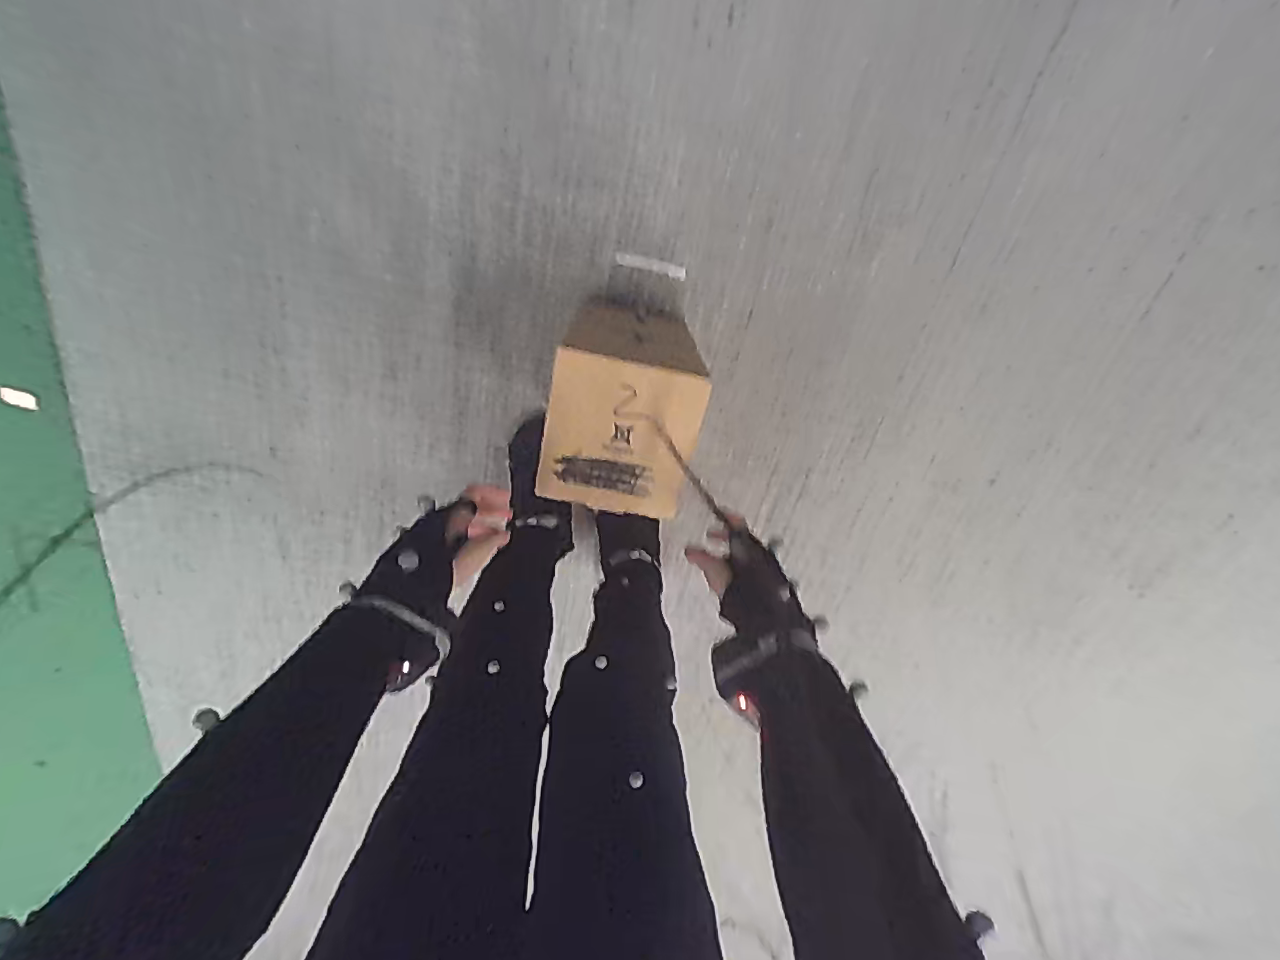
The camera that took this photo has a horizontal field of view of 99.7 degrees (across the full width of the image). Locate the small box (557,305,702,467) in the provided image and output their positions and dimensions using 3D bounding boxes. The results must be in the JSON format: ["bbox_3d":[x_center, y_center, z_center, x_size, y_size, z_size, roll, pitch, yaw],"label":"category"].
[{"bbox_3d":[-0.019,-0.146,0.801,0.168,0.176,0.179,13,117,-7],"label":"small box"}]
